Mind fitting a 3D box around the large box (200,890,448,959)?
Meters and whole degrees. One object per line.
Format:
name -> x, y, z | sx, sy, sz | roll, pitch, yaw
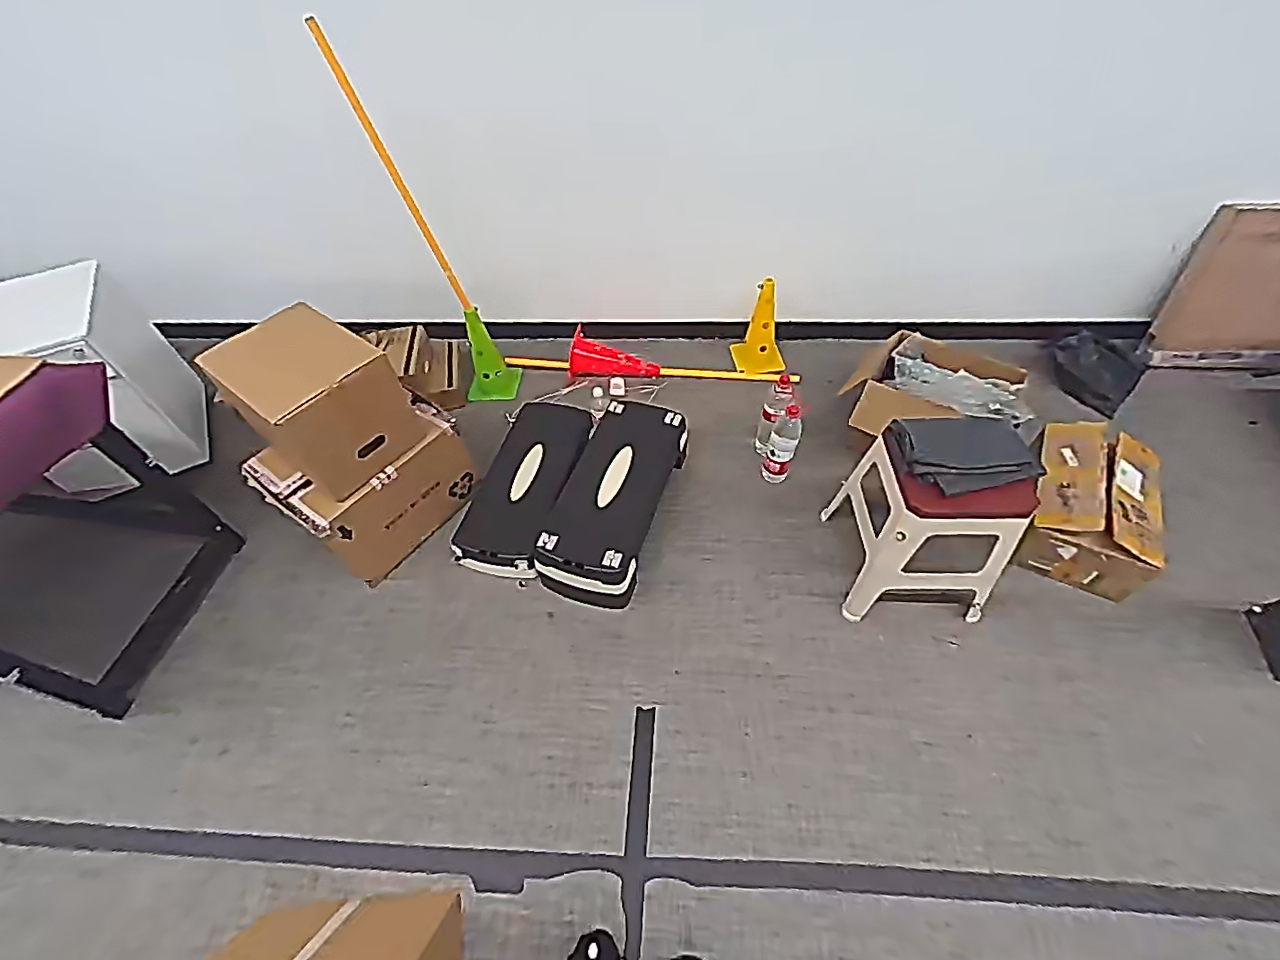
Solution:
large box -> -0.435, 0.771, 0.630 | 0.320, 0.408, 0.320 | -6, 79, -2
